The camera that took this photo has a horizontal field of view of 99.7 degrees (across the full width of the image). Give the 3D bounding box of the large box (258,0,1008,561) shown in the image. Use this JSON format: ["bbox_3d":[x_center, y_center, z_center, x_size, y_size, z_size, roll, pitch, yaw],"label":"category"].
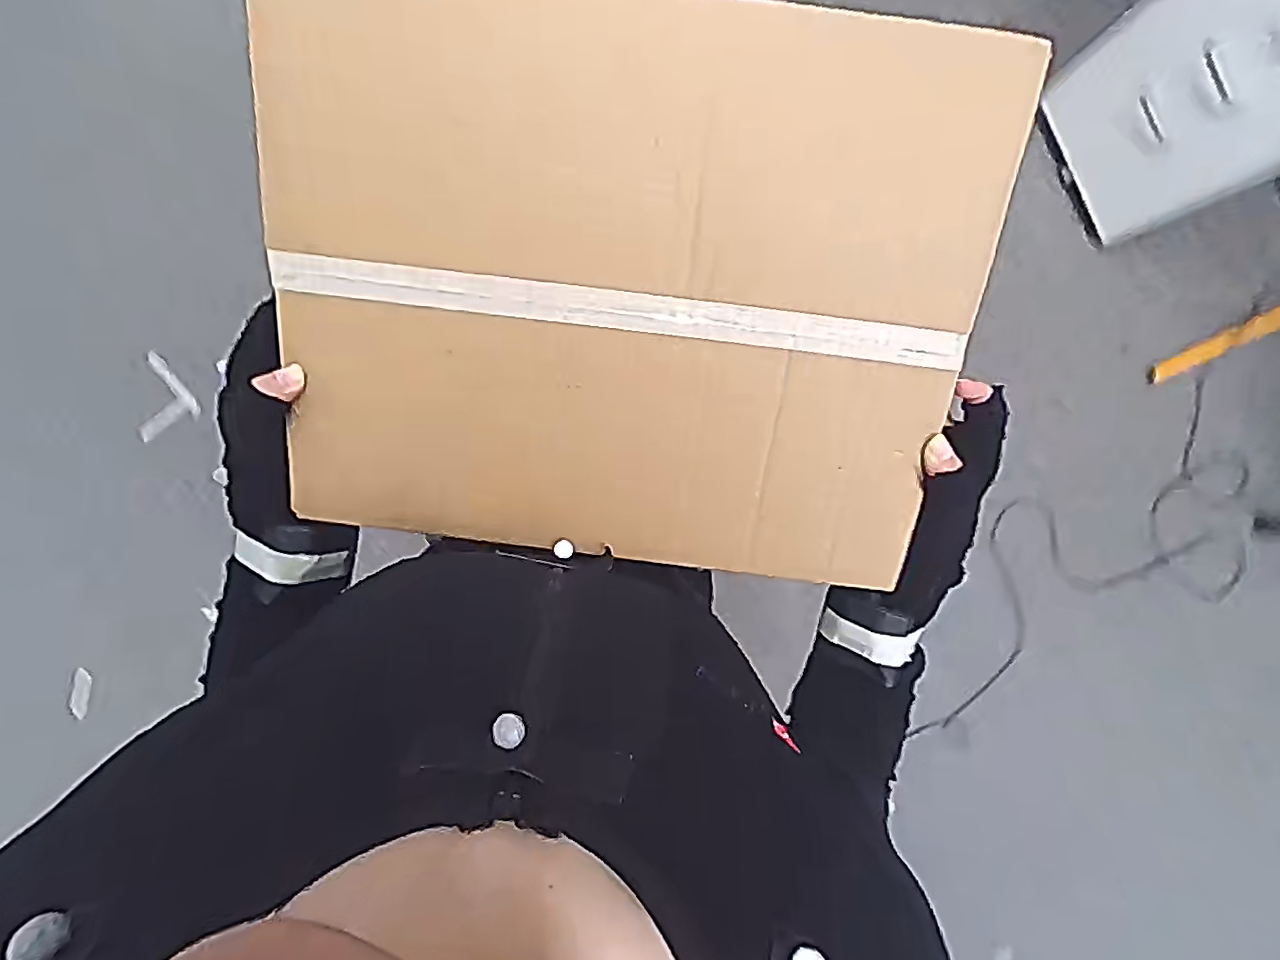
[{"bbox_3d":[-0.014,-0.148,0.467,0.408,0.320,0.320,5,108,-1],"label":"large box"}]
